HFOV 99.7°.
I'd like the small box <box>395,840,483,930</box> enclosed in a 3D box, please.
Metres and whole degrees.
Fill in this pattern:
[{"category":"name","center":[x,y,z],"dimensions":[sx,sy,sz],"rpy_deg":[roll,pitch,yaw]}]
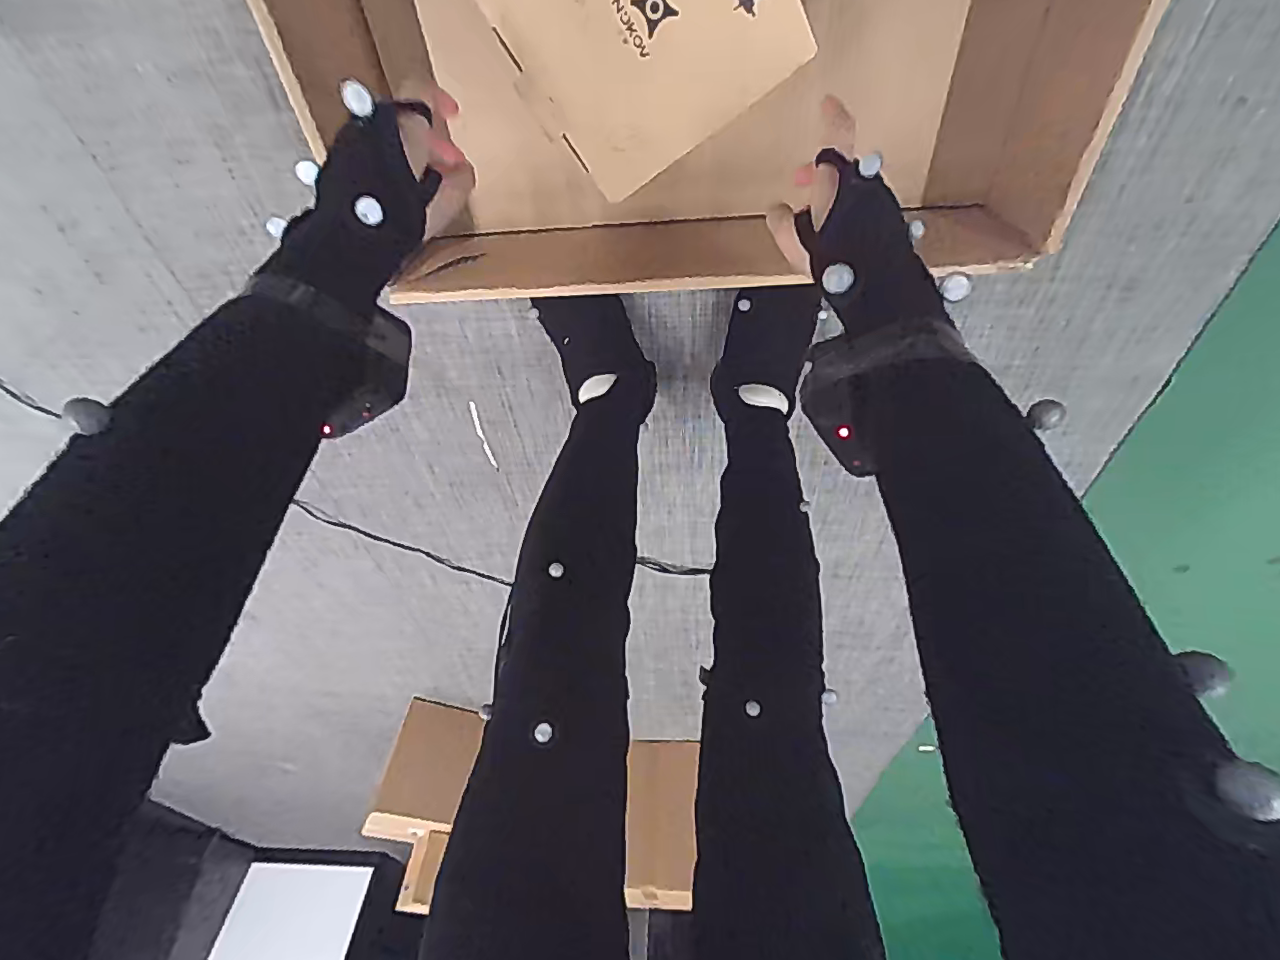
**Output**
[{"category":"small box","center":[-0.555,1.131,1.509],"dimensions":[0.168,0.176,0.179],"rpy_deg":[24,131,-18]}]

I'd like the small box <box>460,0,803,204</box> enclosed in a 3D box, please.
[{"category":"small box","center":[0.000,-0.352,0.406],"dimensions":[0.179,0.176,0.168],"rpy_deg":[-25,127,25]}]

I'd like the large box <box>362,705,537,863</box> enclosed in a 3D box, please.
[{"category":"large box","center":[-0.577,0.942,1.668],"dimensions":[0.408,0.320,0.320],"rpy_deg":[22,131,-14]}]
